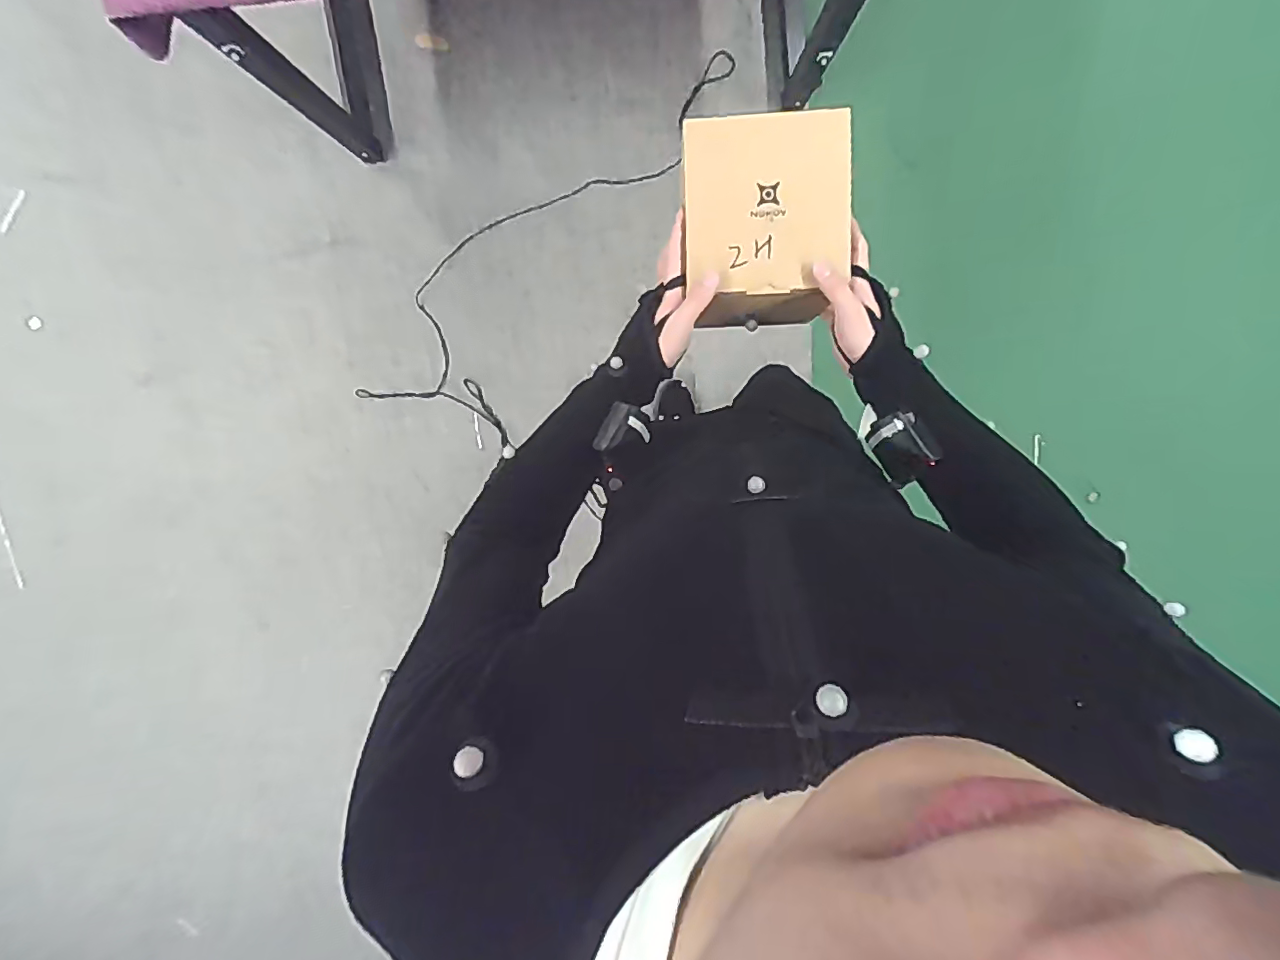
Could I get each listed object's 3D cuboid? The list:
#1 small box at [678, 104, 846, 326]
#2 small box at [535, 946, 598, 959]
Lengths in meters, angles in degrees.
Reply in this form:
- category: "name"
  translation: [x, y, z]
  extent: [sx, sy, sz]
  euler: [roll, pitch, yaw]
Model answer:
- category: "small box"
  translation: [0.127, -0.285, 0.617]
  extent: [0.168, 0.176, 0.179]
  euler: [-1, 94, 5]
- category: "small box"
  translation: [-0.194, 1.337, 1.368]
  extent: [0.168, 0.176, 0.179]
  euler: [-2, 99, 2]
